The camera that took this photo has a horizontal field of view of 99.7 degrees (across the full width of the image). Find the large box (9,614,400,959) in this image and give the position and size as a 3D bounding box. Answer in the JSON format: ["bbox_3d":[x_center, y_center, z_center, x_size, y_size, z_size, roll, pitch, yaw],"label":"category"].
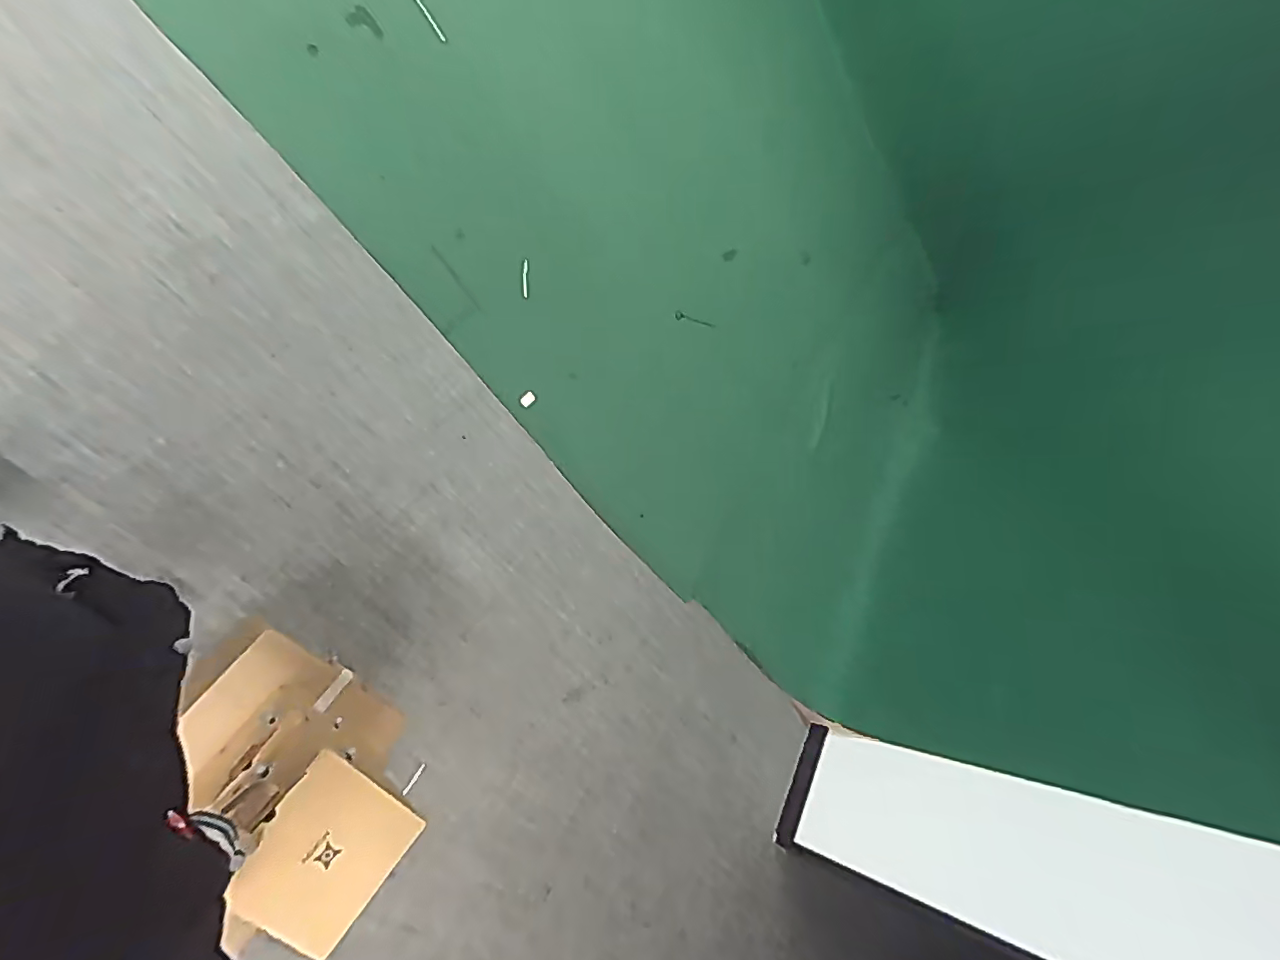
[{"bbox_3d":[-0.725,0.505,0.967,0.320,0.320,0.408,49,57,-24],"label":"large box"}]

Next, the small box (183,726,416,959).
[{"bbox_3d":[-0.429,0.444,0.689,0.179,0.176,0.168,54,55,-21],"label":"small box"}]
